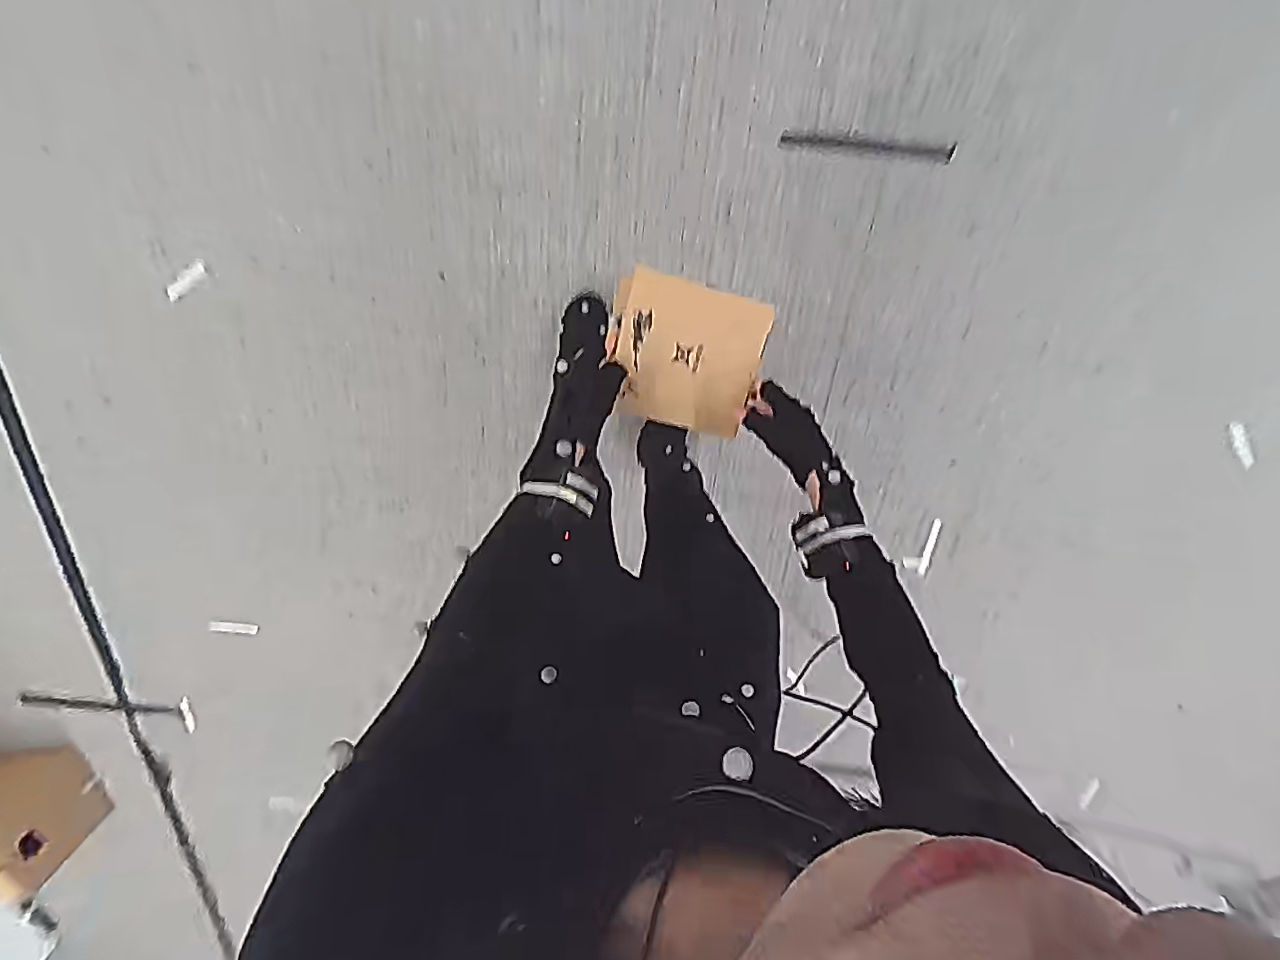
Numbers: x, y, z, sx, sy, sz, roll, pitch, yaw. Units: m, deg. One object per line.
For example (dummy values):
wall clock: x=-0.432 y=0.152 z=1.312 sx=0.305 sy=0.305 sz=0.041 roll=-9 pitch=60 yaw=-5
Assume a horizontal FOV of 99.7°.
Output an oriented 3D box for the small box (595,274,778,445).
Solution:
small box: x=0.047 y=-0.160 z=0.709 sx=0.179 sy=0.176 sz=0.168 roll=13 pitch=105 yaw=-12
